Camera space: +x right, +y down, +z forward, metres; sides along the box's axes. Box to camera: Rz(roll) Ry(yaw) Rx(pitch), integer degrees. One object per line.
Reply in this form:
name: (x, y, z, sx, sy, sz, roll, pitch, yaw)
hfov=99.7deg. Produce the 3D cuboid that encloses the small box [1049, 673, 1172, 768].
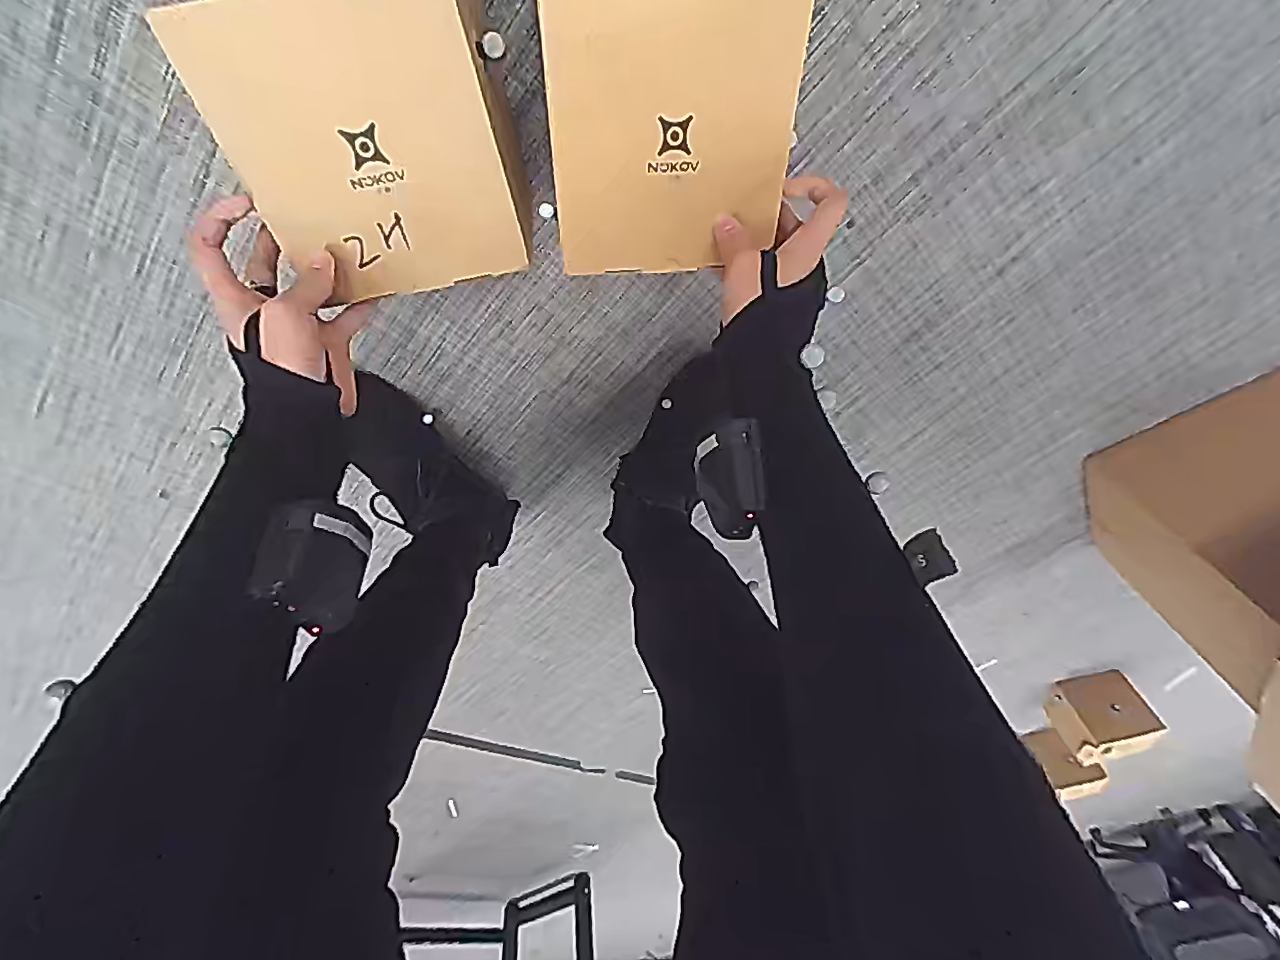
small box: (1.281, 0.661, 1.491, 0.179, 0.176, 0.168, -16, 133, 5)

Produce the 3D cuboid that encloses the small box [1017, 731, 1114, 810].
small box: (1.373, 0.939, 1.758, 0.179, 0.176, 0.168, -22, 131, 9)

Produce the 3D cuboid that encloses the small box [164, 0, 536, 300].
small box: (-0.182, -0.266, 0.410, 0.168, 0.176, 0.179, -11, 134, 0)

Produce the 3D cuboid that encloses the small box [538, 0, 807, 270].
small box: (0.011, -0.288, 0.427, 0.168, 0.176, 0.179, -5, 134, -4)
